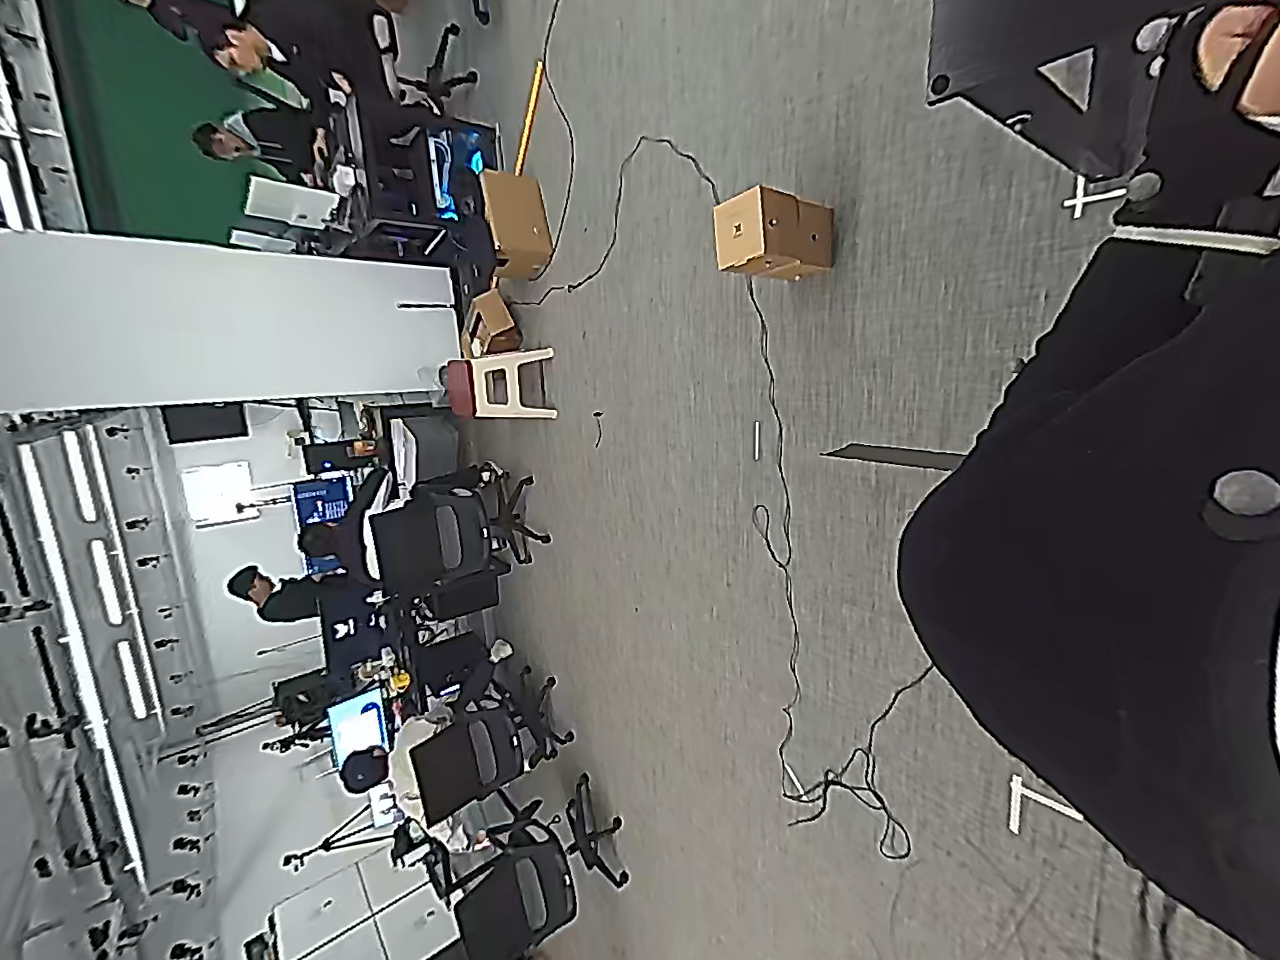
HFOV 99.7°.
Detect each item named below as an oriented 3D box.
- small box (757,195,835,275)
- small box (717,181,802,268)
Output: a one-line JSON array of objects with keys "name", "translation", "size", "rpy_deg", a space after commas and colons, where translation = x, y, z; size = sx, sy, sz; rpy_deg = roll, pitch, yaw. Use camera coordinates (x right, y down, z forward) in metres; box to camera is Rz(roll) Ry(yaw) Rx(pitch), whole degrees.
[{"name": "small box", "translation": [0.465, -0.721, 1.610], "size": [0.168, 0.176, 0.179], "rpy_deg": [8, 106, 51]}, {"name": "small box", "translation": [0.337, -0.702, 1.512], "size": [0.168, 0.176, 0.179], "rpy_deg": [3, 100, 51]}]
